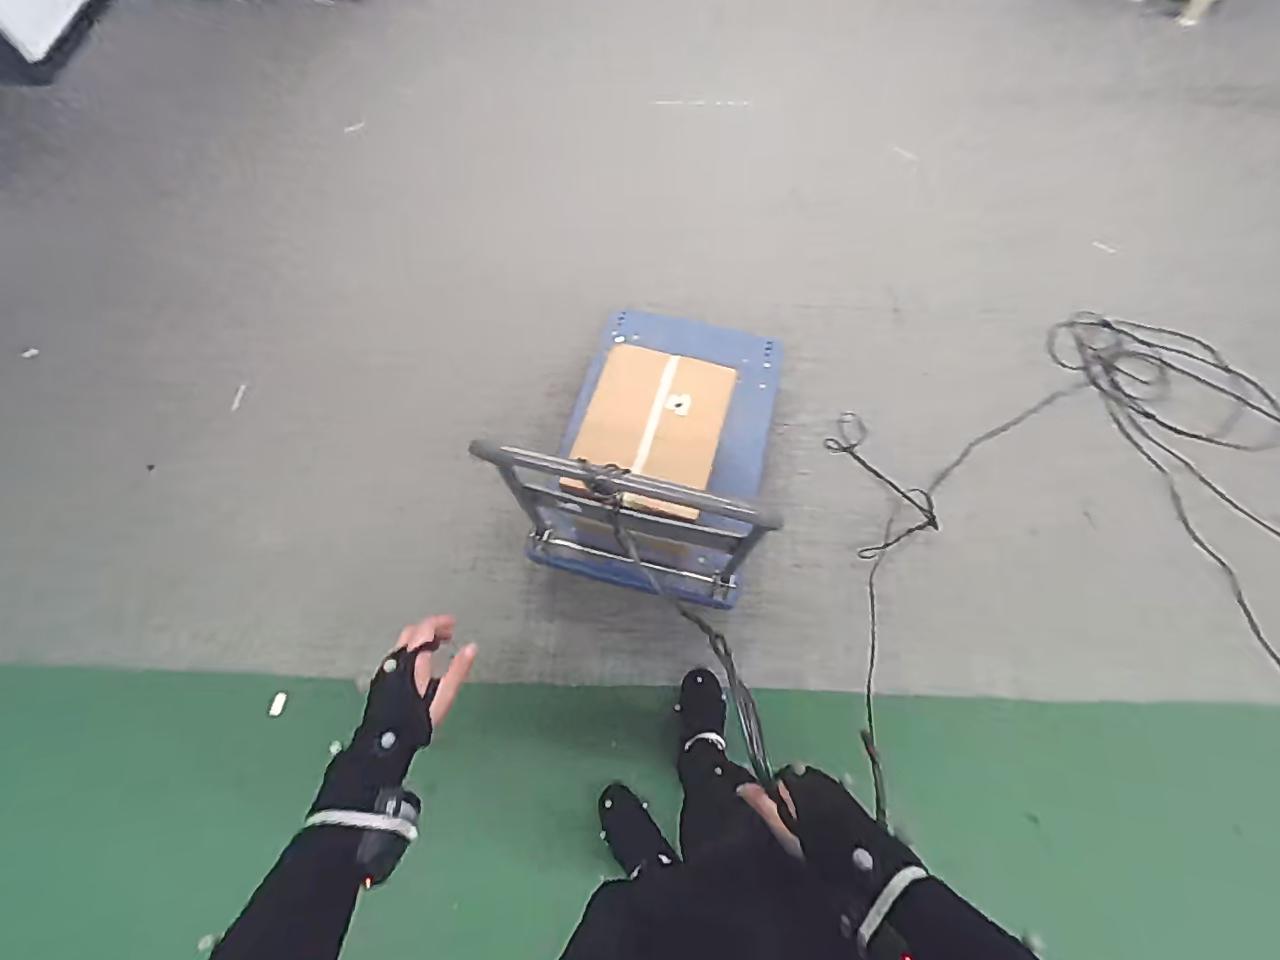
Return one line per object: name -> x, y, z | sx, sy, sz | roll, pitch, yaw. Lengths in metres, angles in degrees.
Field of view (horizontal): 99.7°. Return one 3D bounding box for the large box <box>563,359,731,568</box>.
large box -> 0.027, -0.033, 1.395 | 0.320, 0.320, 0.408 | 15, 65, 7
